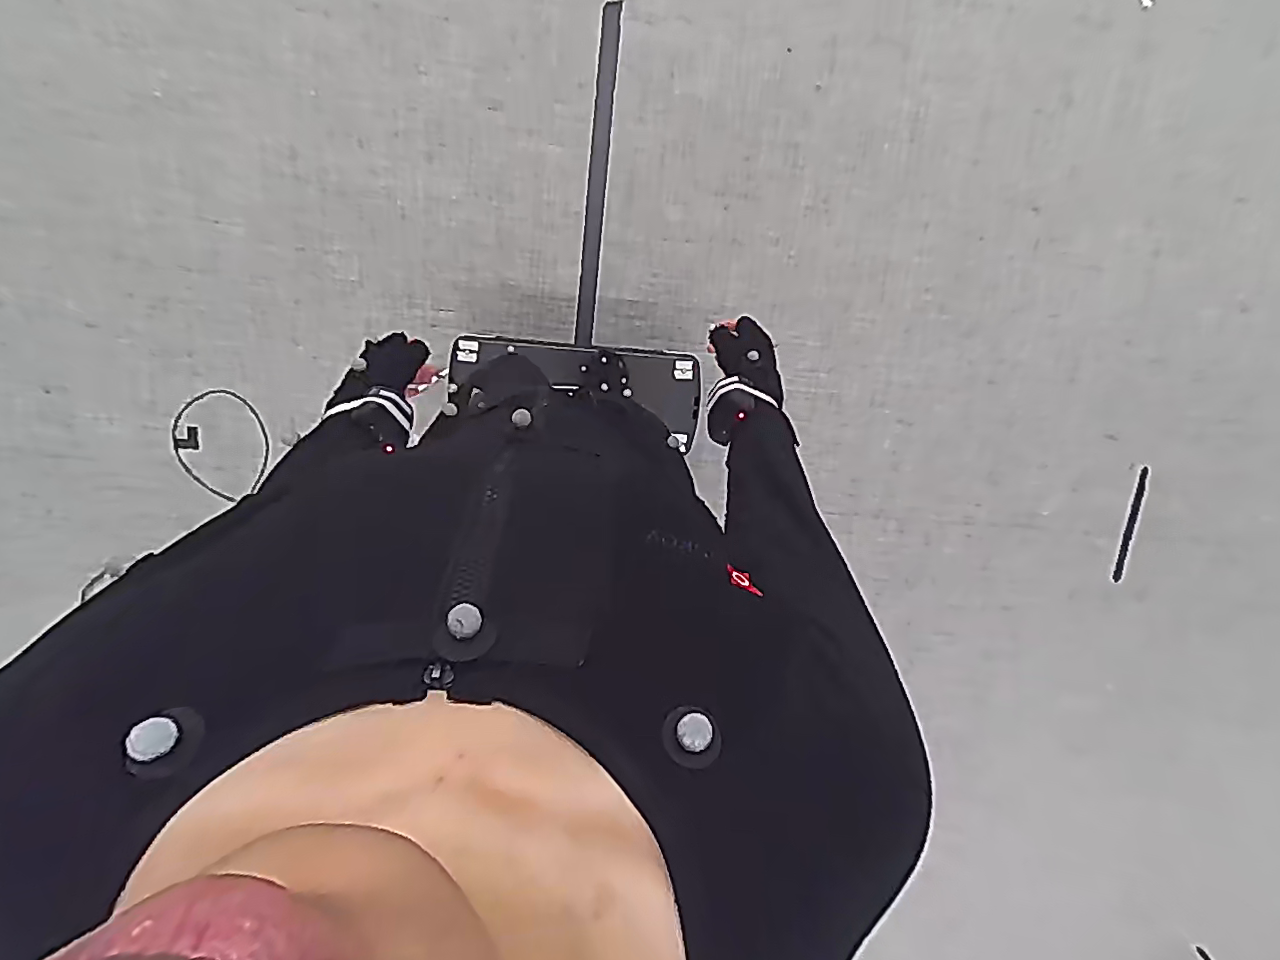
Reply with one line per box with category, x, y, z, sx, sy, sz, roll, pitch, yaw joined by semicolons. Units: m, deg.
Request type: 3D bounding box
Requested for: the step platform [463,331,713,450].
step platform;-0.140;-0.249;1.520;0.684;0.204;0.286;3;102;-4
